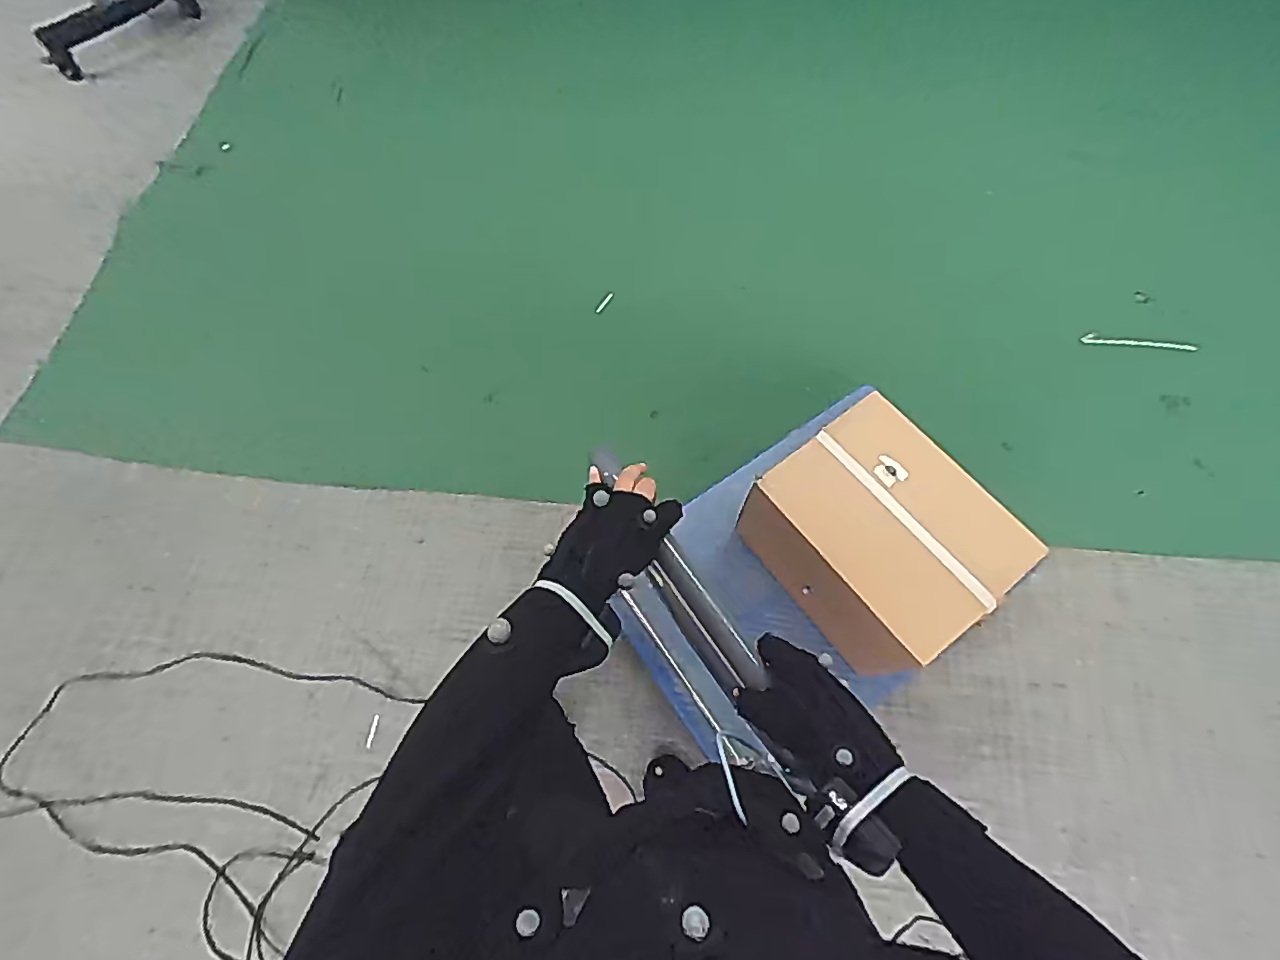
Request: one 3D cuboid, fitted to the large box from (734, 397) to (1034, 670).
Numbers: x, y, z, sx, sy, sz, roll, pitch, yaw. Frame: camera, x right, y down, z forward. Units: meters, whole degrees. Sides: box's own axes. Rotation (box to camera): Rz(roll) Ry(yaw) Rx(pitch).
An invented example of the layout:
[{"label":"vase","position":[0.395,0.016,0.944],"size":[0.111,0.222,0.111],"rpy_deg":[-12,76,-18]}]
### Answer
[{"label":"large box","position":[0.448,0.121,1.098],"size":[0.320,0.320,0.408],"rpy_deg":[-35,70,-13]}]
